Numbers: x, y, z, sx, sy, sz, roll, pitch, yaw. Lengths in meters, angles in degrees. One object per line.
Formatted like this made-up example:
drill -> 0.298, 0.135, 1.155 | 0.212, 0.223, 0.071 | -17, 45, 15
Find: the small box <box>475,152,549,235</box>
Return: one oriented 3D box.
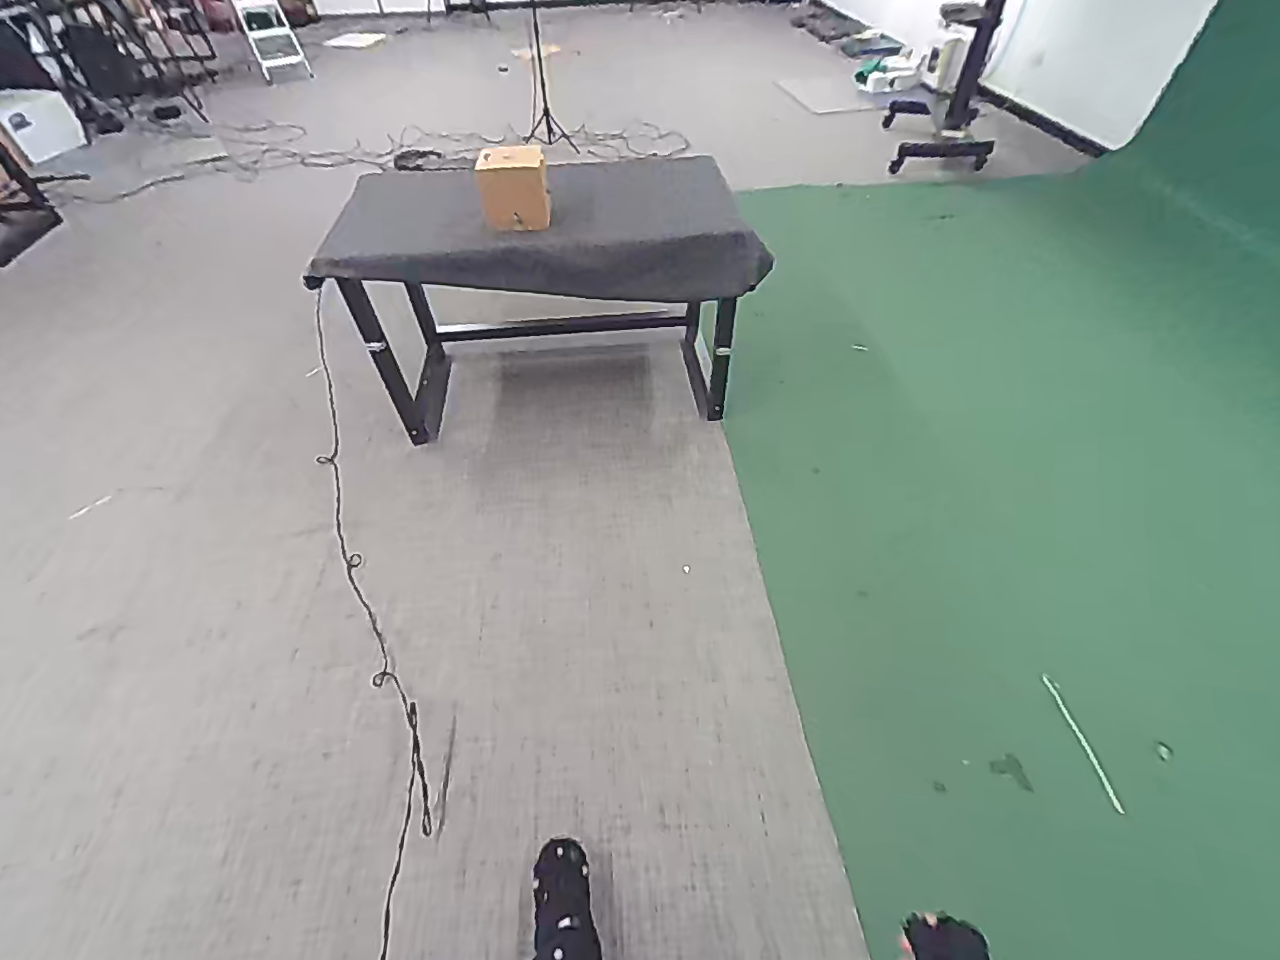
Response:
small box -> -0.360, -0.821, 1.553 | 0.179, 0.176, 0.168 | -3, 48, -2
